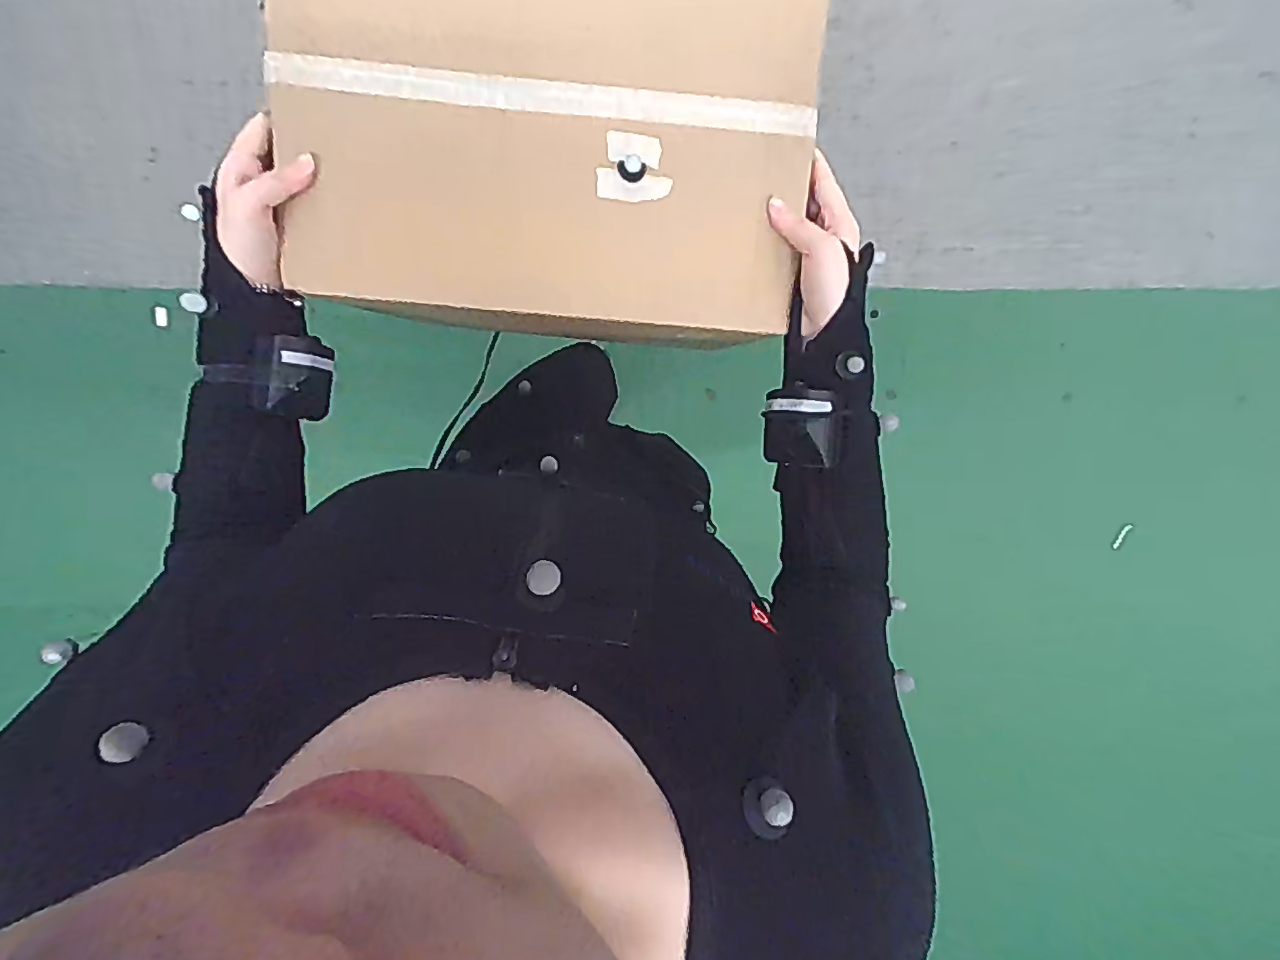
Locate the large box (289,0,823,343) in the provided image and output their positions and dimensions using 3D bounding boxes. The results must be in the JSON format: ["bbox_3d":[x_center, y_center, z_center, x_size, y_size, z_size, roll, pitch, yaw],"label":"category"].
[{"bbox_3d":[-0.073,-0.320,0.561,0.408,0.320,0.320,4,102,-4],"label":"large box"}]
